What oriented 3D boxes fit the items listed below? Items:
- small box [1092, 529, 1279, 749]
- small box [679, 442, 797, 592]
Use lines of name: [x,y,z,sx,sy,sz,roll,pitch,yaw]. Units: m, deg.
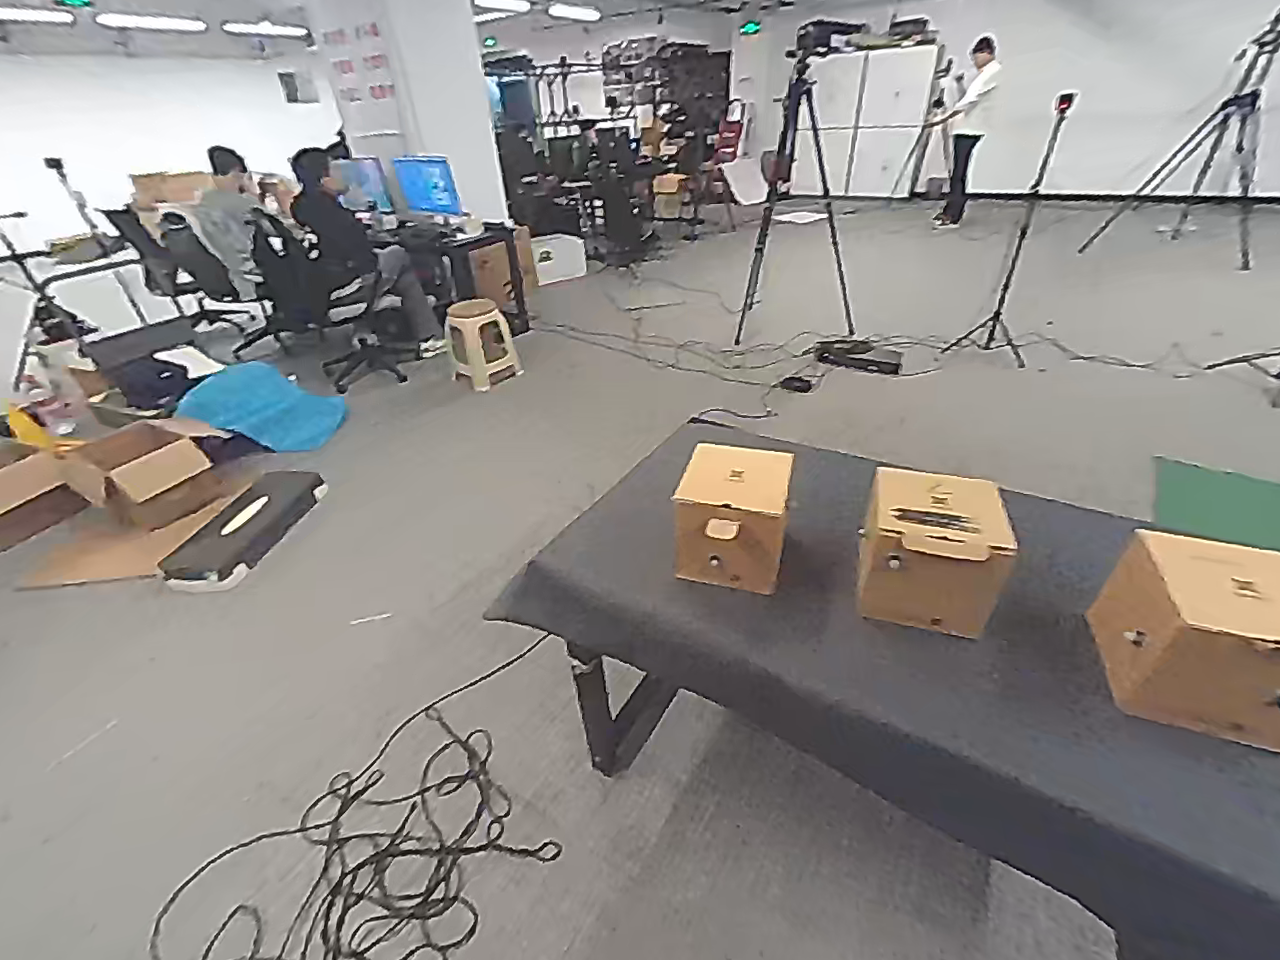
small box: [0.705,0.191,0.666,0.168,0.176,0.179,11,36,19]
small box: [0.164,0.058,0.913,0.168,0.176,0.179,8,37,16]
